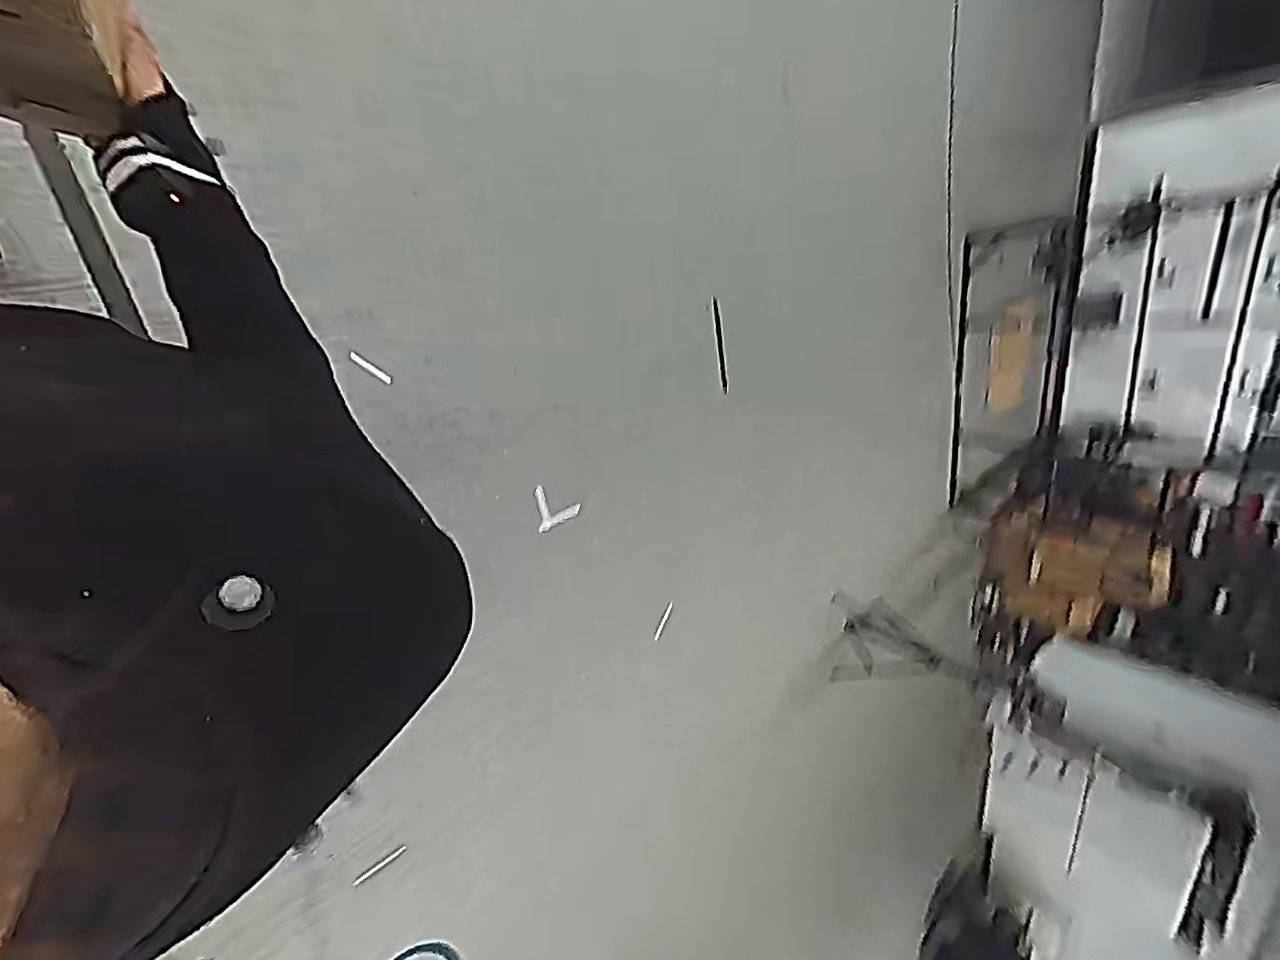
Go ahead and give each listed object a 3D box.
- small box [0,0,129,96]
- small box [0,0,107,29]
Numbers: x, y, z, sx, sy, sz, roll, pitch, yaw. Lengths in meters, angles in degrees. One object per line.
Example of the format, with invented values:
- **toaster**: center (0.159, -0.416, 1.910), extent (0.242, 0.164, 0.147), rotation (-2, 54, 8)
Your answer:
- **small box**: center (-0.423, -0.371, 0.319), extent (0.168, 0.176, 0.179), rotation (-1, 109, -39)
- **small box**: center (-0.327, -0.318, 0.198), extent (0.168, 0.176, 0.179), rotation (-5, 110, -38)
